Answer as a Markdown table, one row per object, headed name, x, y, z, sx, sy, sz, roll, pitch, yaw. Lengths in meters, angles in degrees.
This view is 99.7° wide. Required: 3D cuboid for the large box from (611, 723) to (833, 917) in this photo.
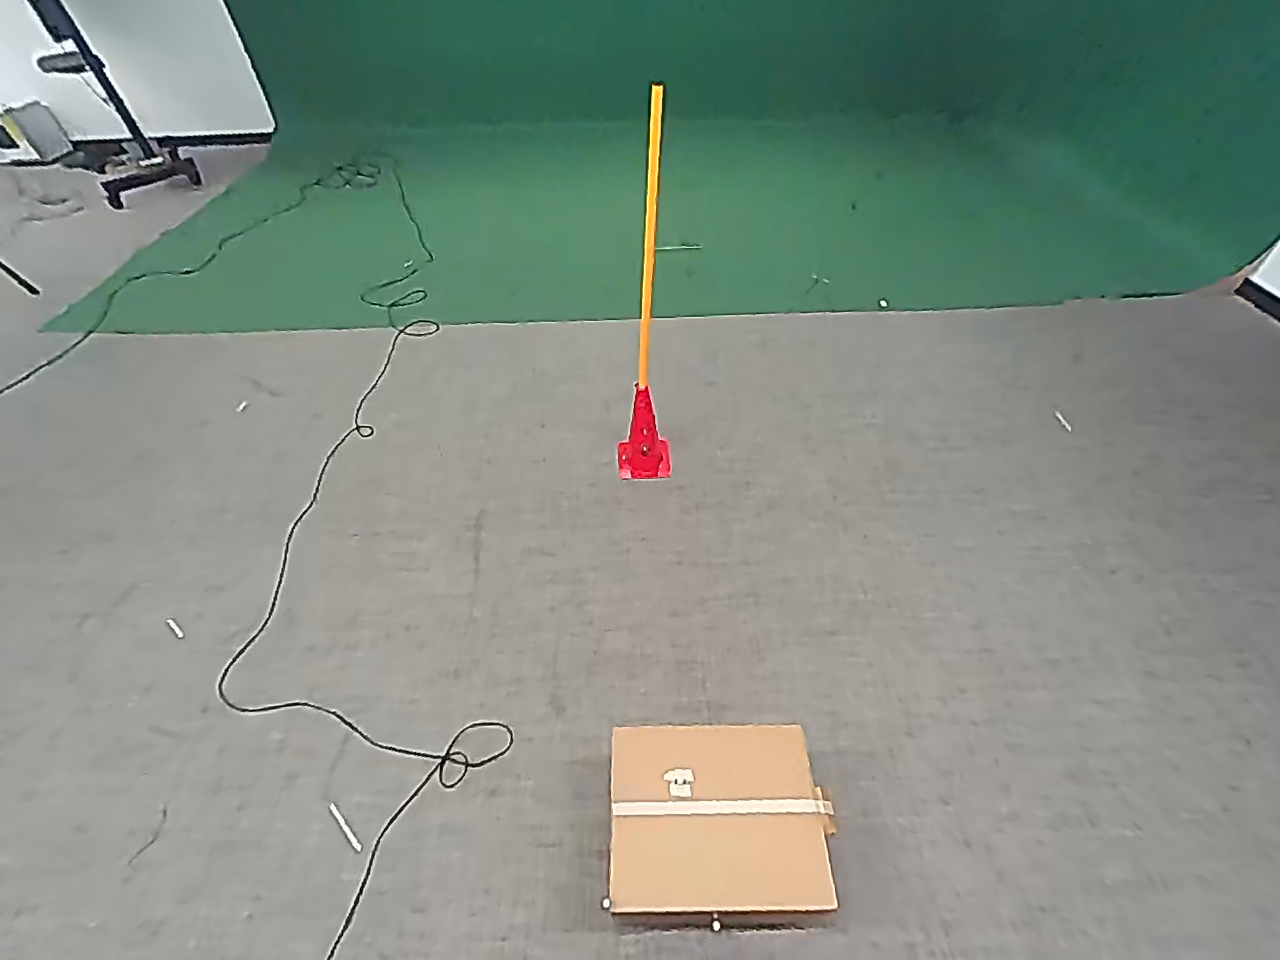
| name | x | y | z | sx | sy | sz | roll | pitch | yaw |
| --- | --- | --- | --- | --- | --- | --- | --- | --- | --- |
| large box | 0.150 | 0.739 | 1.168 | 0.408 | 0.320 | 0.320 | -1 | 47 | 1 |
